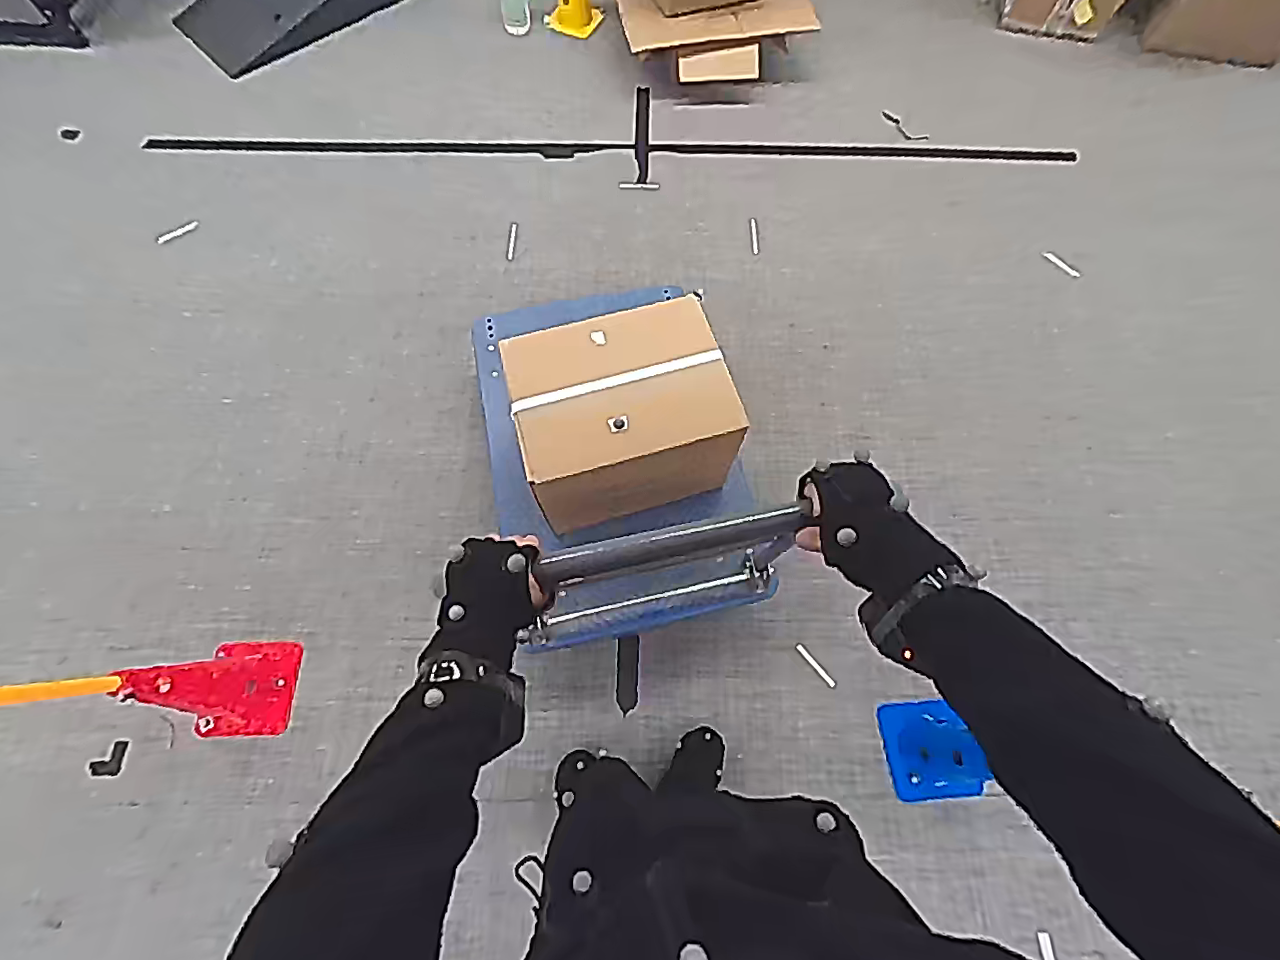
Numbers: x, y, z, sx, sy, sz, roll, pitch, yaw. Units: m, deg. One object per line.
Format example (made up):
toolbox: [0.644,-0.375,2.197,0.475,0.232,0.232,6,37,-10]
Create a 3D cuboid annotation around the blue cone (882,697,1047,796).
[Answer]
blue cone: [0.658,0.531,1.064,0.193,0.380,0.192,-3,67,-3]
